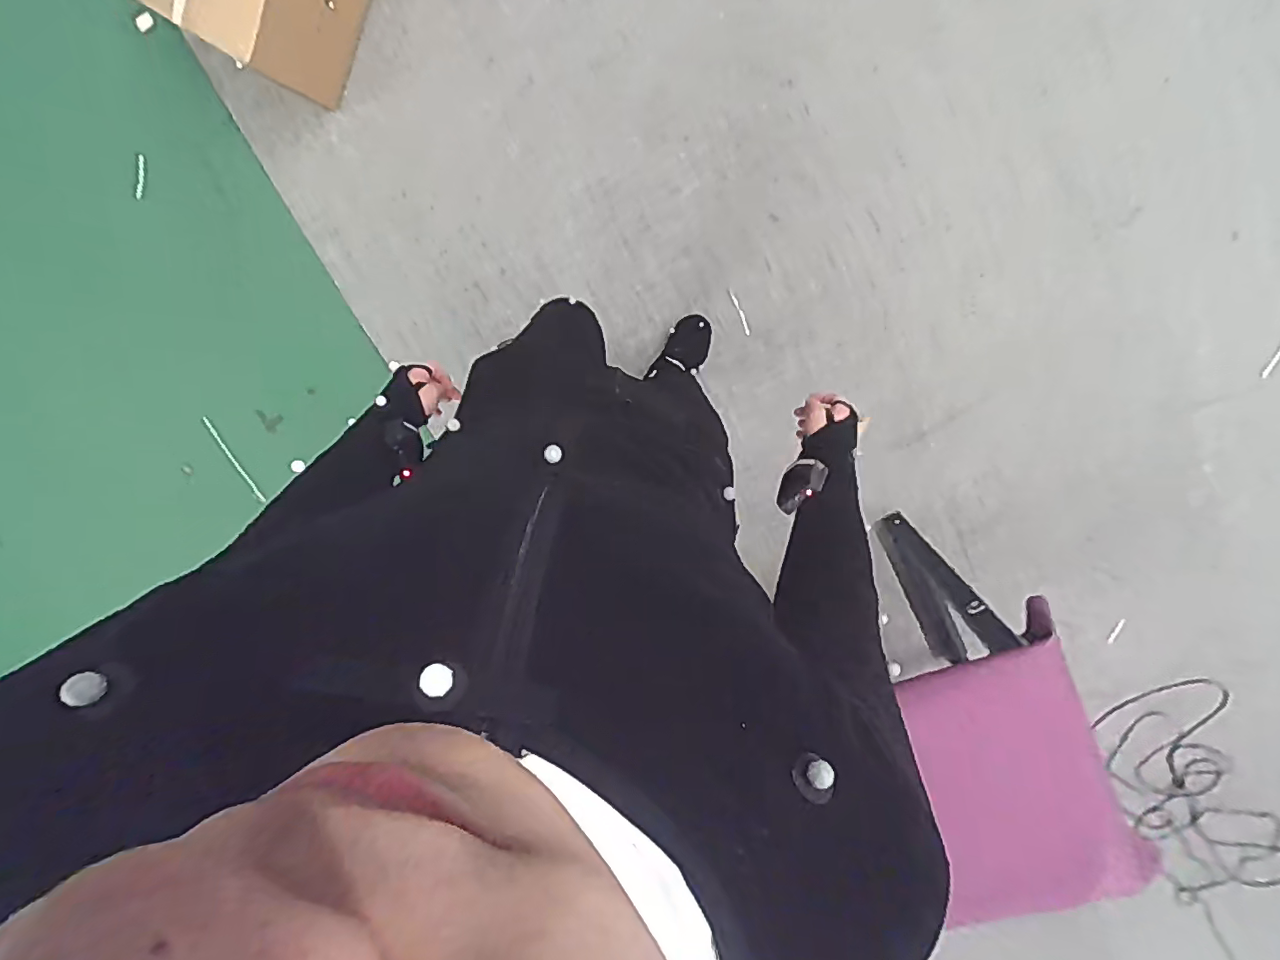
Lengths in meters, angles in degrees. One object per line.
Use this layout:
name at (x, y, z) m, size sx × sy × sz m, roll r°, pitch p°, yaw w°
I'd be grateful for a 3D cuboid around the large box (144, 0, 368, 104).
large box at (-0.831, -1.153, 1.185) m, size 0.320 × 0.320 × 0.408 m, roll 30°, pitch 110°, yaw -5°
